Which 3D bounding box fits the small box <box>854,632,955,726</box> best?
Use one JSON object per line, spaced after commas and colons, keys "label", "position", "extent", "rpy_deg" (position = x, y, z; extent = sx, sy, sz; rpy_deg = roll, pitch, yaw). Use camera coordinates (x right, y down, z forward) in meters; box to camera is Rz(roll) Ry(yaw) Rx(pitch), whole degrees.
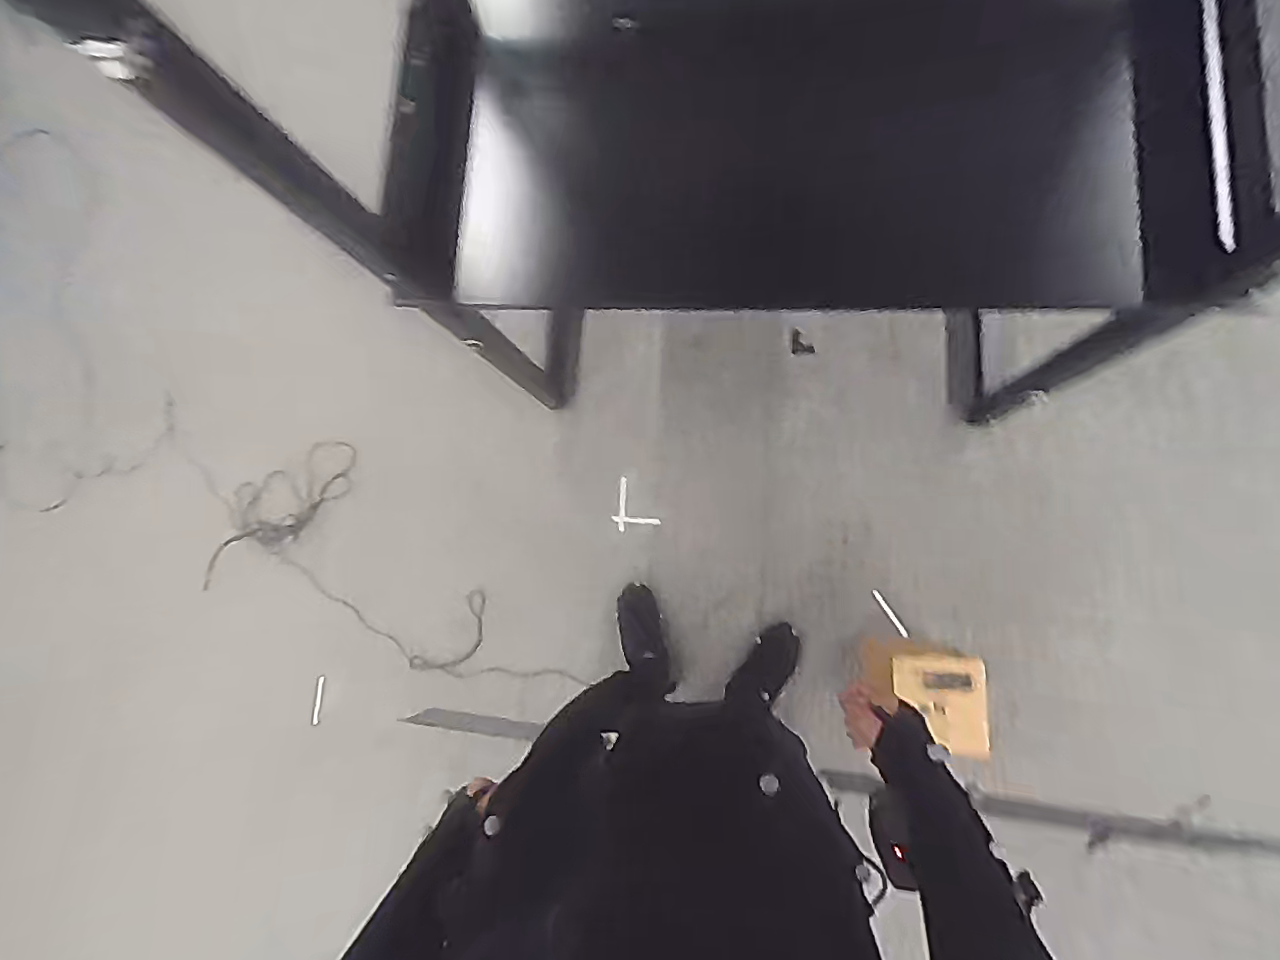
{"label": "small box", "position": [0.613, 0.456, 1.267], "extent": [0.179, 0.176, 0.168], "rpy_deg": [2, 83, 11]}
